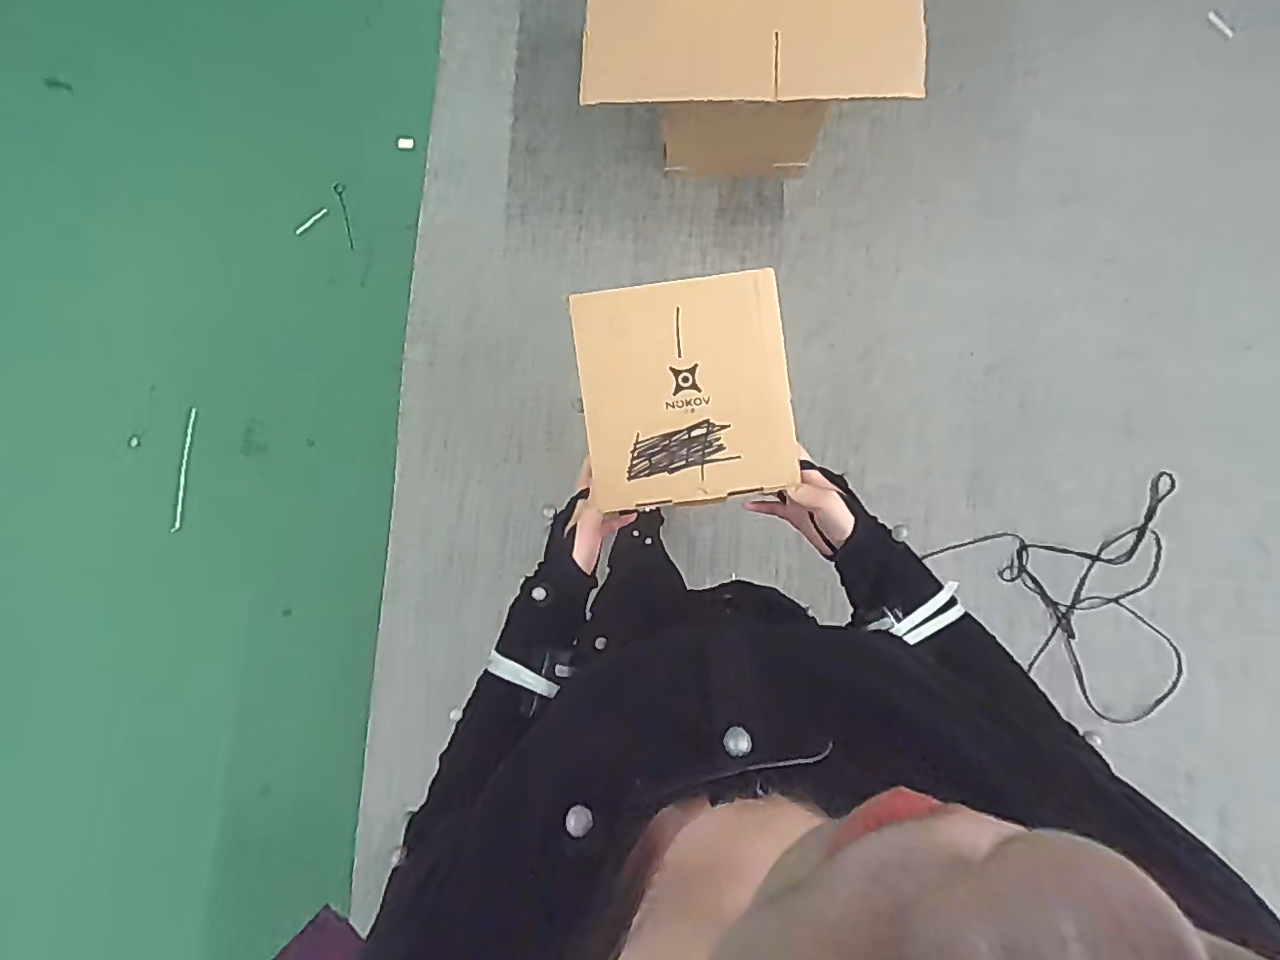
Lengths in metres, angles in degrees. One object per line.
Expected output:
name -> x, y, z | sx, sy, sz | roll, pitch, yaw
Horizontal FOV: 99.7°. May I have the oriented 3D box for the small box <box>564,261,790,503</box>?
small box -> 0.032, -0.079, 0.506 | 0.168, 0.176, 0.179 | -7, 91, 1
